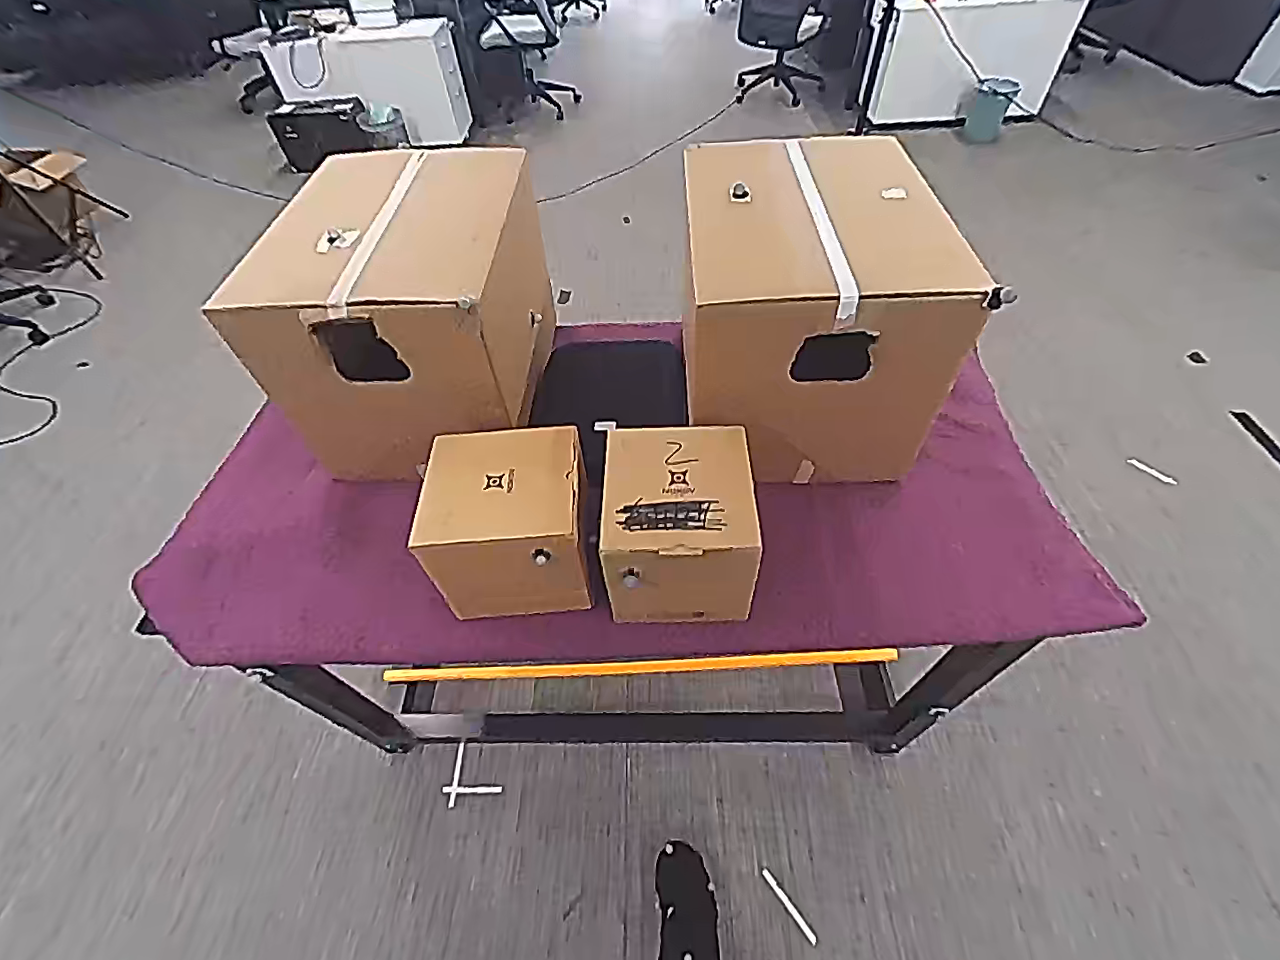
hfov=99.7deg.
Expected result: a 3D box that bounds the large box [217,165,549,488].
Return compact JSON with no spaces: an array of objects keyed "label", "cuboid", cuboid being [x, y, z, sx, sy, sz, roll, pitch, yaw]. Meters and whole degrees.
[{"label":"large box","cuboid":[-0.328,-0.237,0.843,0.320,0.320,0.408,-2,53,2]}]
